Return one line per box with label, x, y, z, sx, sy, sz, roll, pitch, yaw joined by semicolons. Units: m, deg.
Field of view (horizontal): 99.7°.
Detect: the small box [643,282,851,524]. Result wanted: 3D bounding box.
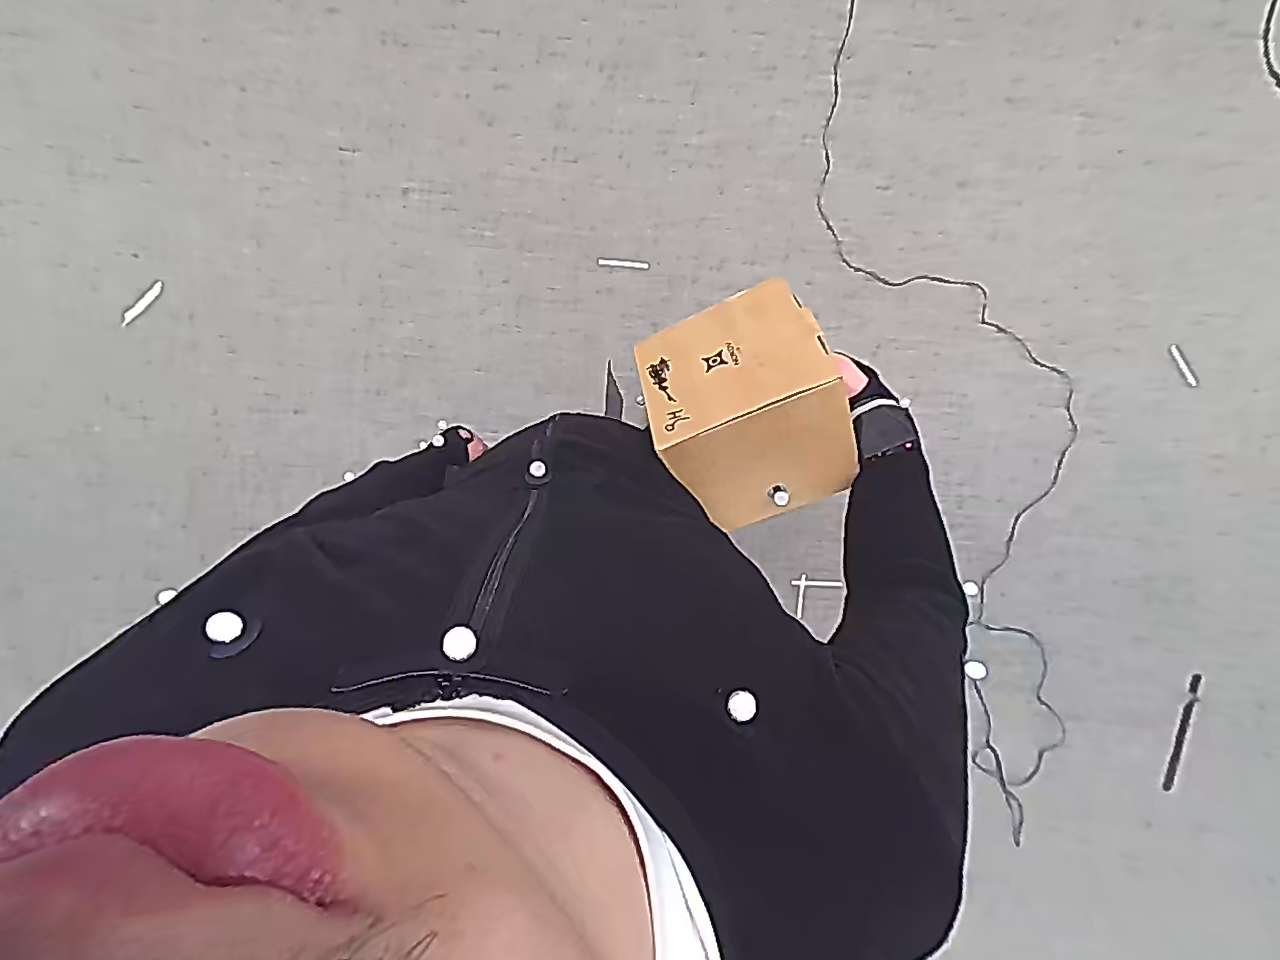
small box;0.123;-0.078;0.604;0.179;0.168;0.176;-21;138;13
